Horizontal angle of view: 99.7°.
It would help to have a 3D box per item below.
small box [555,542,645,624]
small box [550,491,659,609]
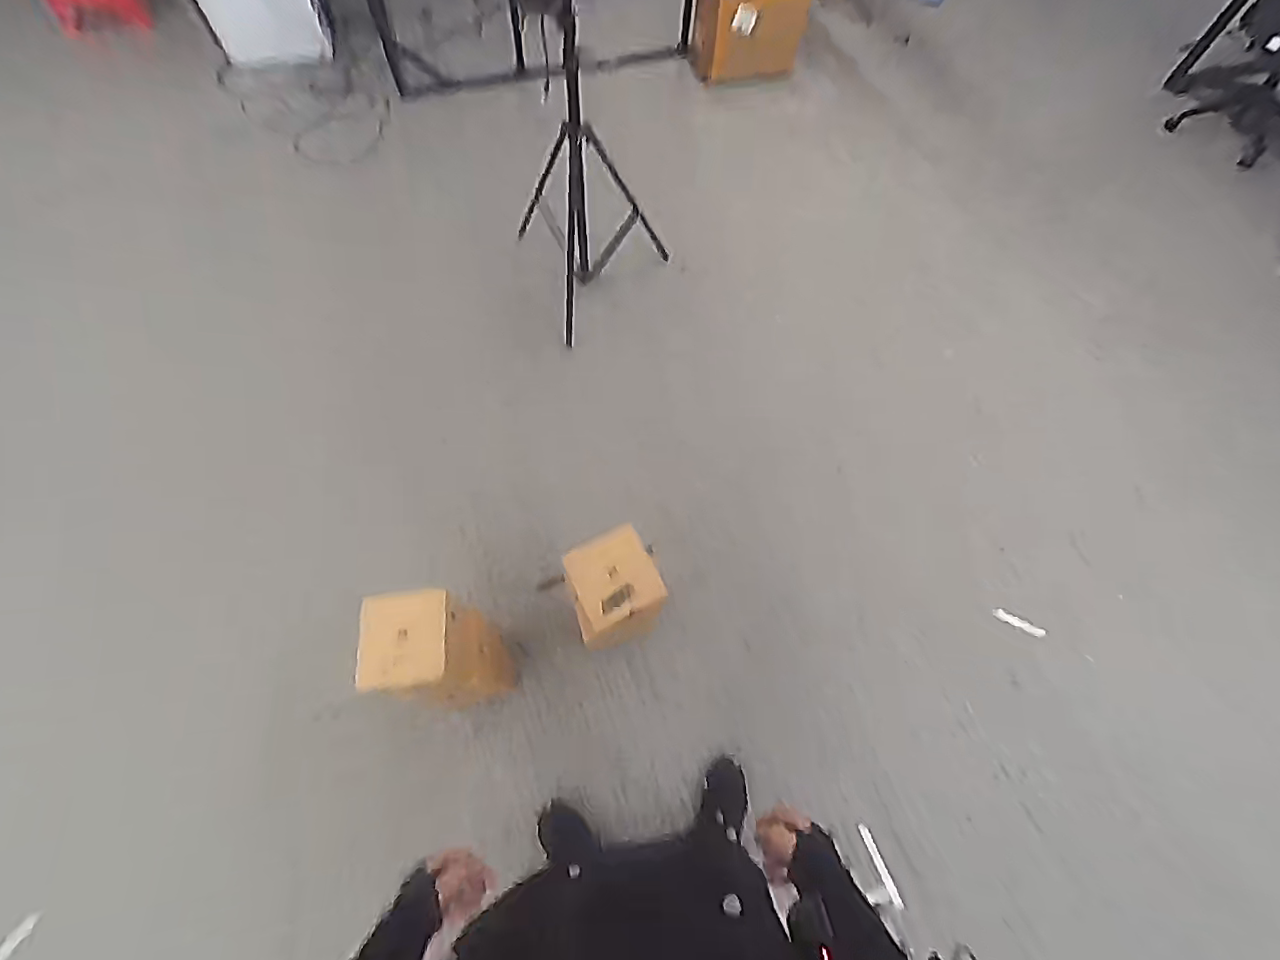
[{"bbox_3d":[-0.097,0.222,1.287,0.168,0.176,0.179,-17,67,-10],"label":"small box"},{"bbox_3d":[-0.074,0.156,1.136,0.168,0.176,0.179,-24,70,-13],"label":"small box"}]
